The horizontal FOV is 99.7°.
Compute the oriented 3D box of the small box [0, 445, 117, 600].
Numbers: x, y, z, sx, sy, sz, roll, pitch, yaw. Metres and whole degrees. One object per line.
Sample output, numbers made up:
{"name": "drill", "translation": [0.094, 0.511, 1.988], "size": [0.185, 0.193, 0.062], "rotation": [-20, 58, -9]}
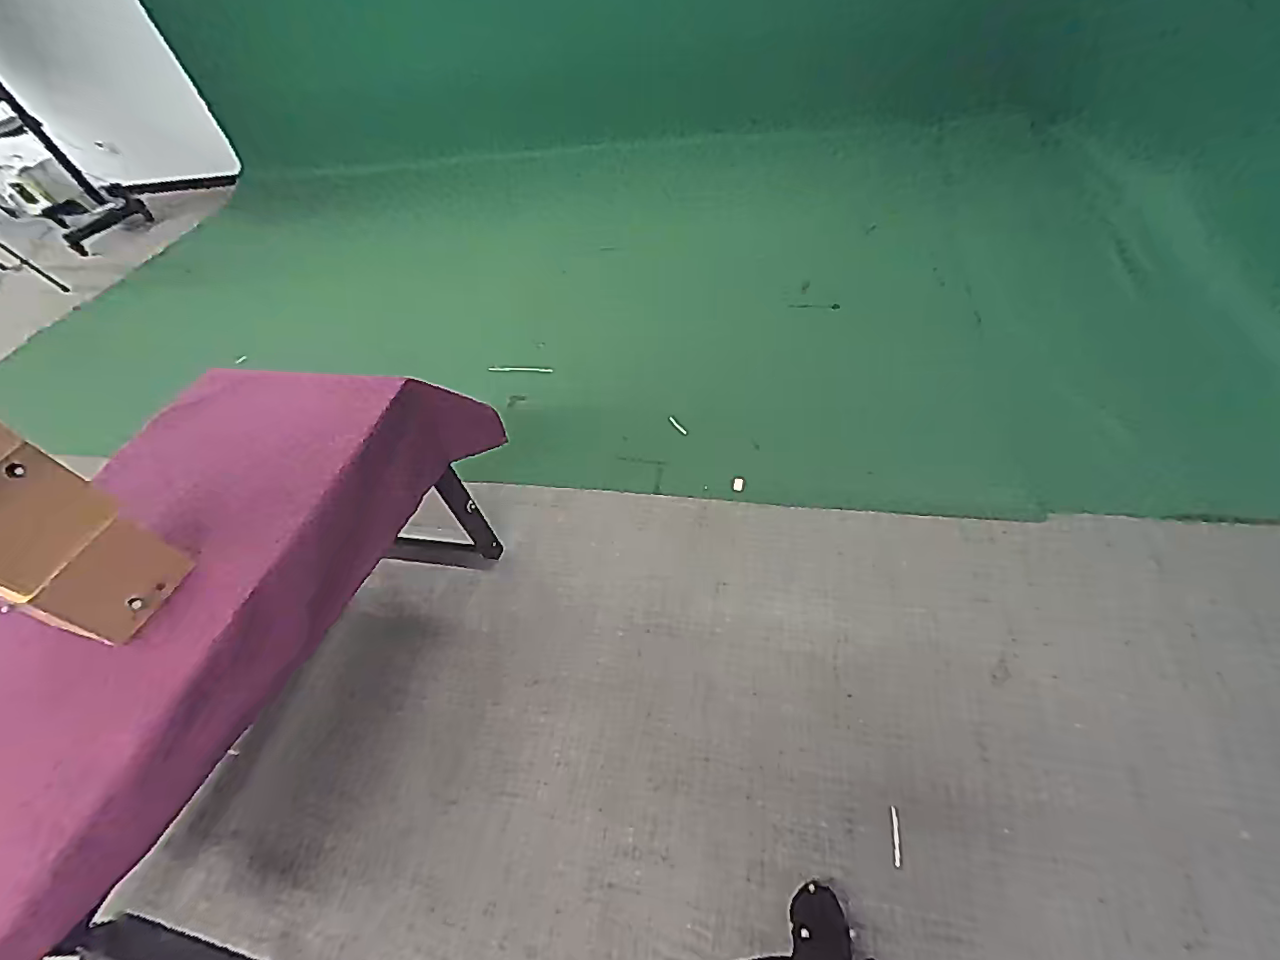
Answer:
{"name": "small box", "translation": [-0.943, 0.053, 0.783], "size": [0.168, 0.176, 0.179], "rotation": [7, 53, 16]}

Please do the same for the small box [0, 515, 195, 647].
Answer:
{"name": "small box", "translation": [-0.919, 0.160, 0.902], "size": [0.179, 0.176, 0.168], "rotation": [9, 54, 17]}
